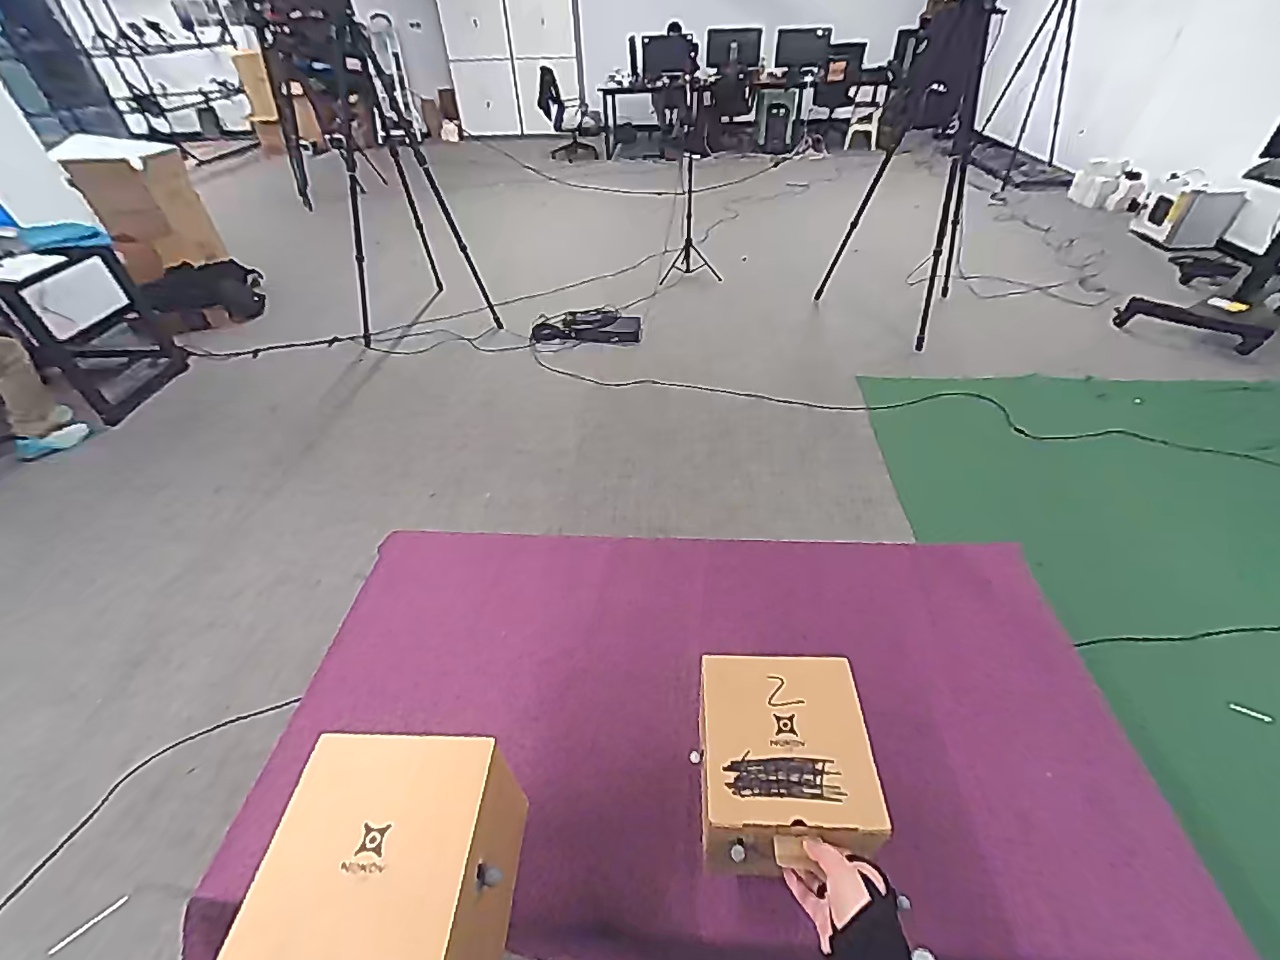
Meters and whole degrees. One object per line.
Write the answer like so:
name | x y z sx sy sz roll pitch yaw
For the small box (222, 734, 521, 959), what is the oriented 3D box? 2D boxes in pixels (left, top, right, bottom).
small box | -0.216 0.359 0.498 0.168 0.176 0.179 0 43 3
